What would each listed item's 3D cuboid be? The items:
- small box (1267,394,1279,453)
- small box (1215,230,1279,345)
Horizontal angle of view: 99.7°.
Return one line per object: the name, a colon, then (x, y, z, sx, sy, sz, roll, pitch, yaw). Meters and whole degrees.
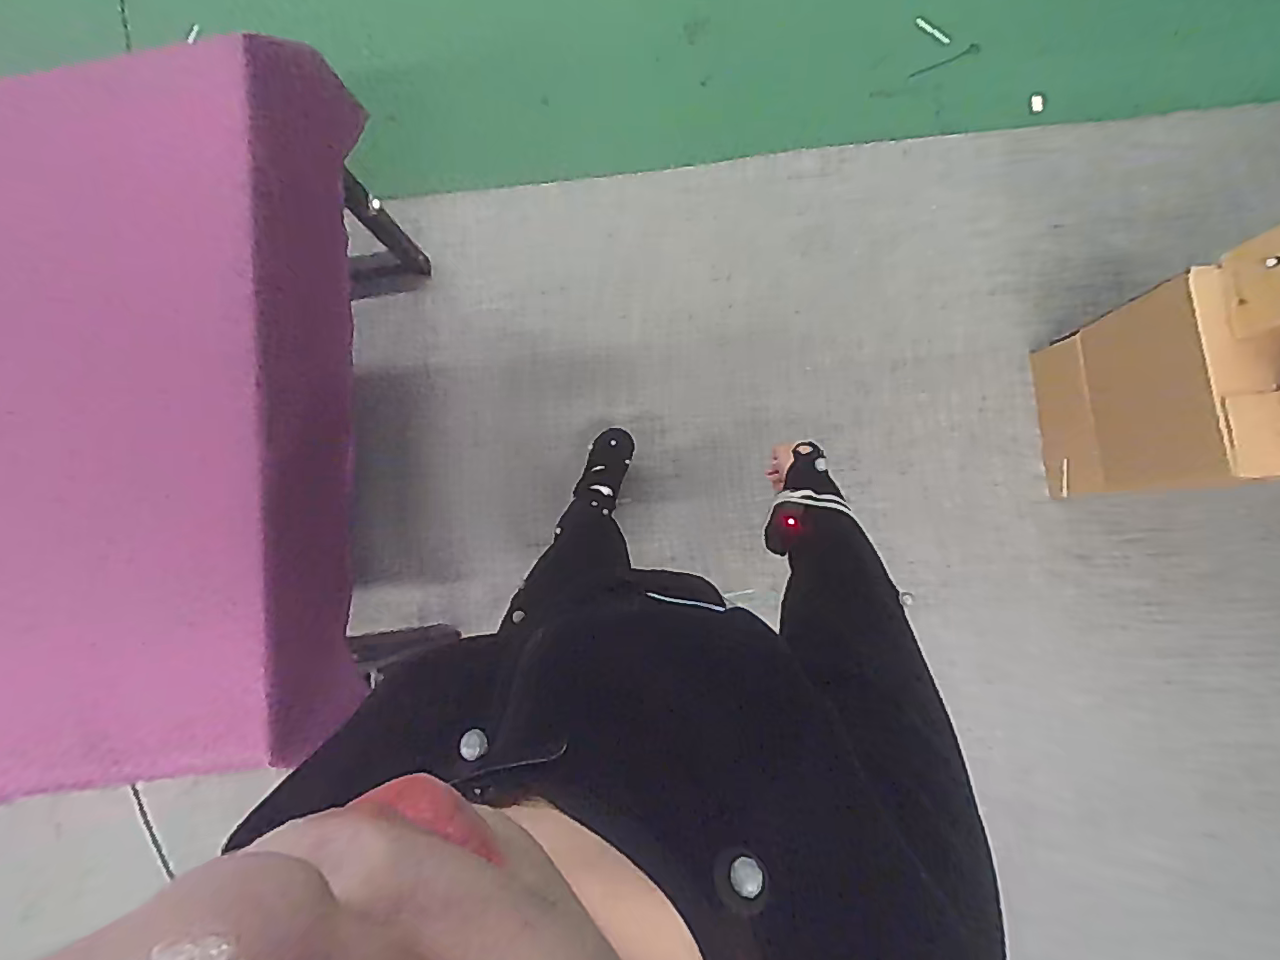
small box: (1.249, -0.087, 0.914, 0.168, 0.176, 0.179, -5, 81, 2)
small box: (1.175, -0.344, 0.948, 0.179, 0.176, 0.168, -3, 84, 3)
